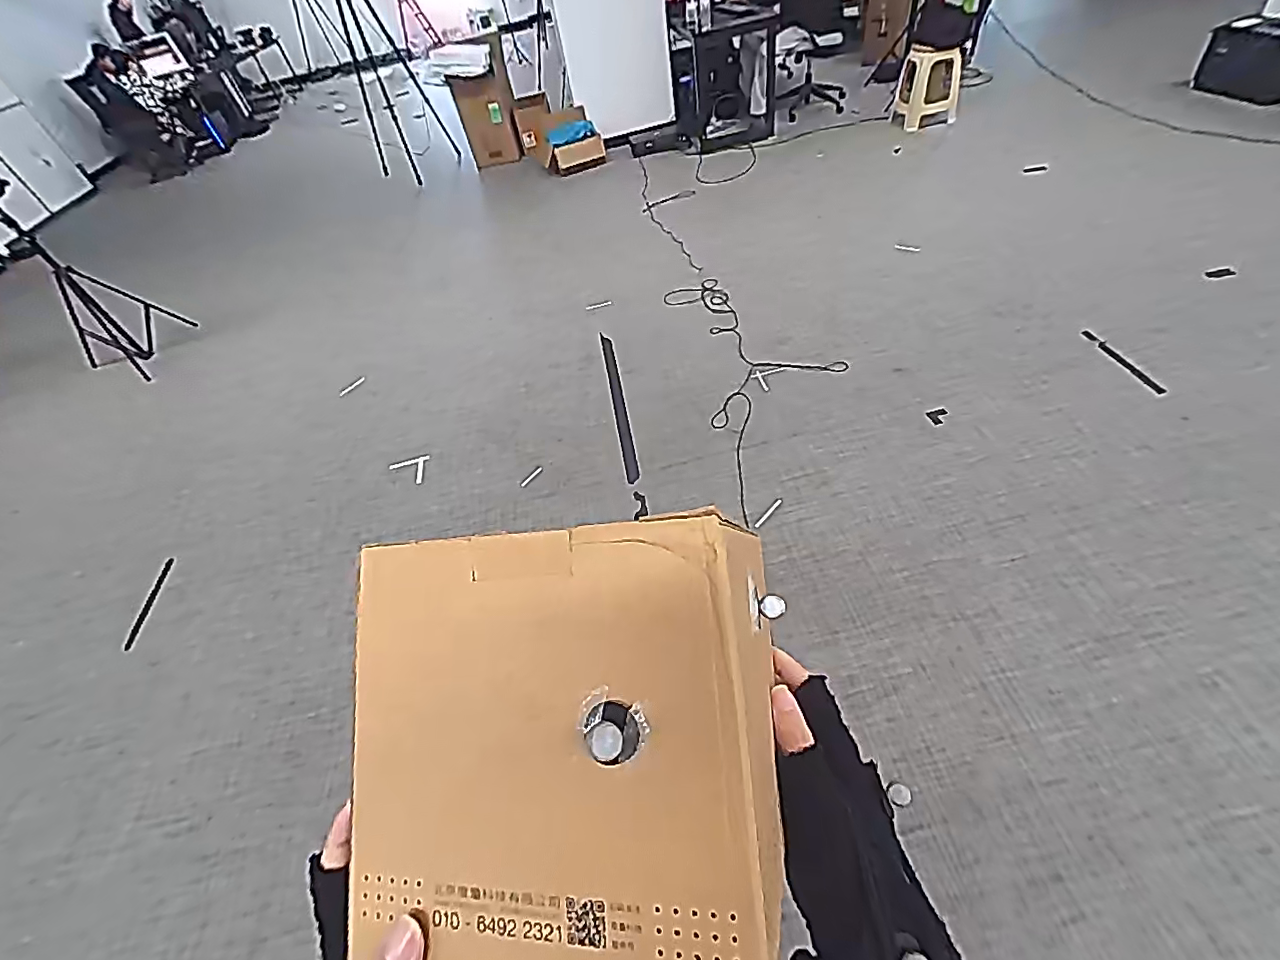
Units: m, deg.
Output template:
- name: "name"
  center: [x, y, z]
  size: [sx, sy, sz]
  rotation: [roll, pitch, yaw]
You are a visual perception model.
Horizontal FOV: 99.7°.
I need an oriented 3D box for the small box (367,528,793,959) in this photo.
- name: "small box"
  center: [-0.014, 0.122, 0.286]
  size: [0.168, 0.179, 0.176]
  rotation: [-7, 79, 17]
